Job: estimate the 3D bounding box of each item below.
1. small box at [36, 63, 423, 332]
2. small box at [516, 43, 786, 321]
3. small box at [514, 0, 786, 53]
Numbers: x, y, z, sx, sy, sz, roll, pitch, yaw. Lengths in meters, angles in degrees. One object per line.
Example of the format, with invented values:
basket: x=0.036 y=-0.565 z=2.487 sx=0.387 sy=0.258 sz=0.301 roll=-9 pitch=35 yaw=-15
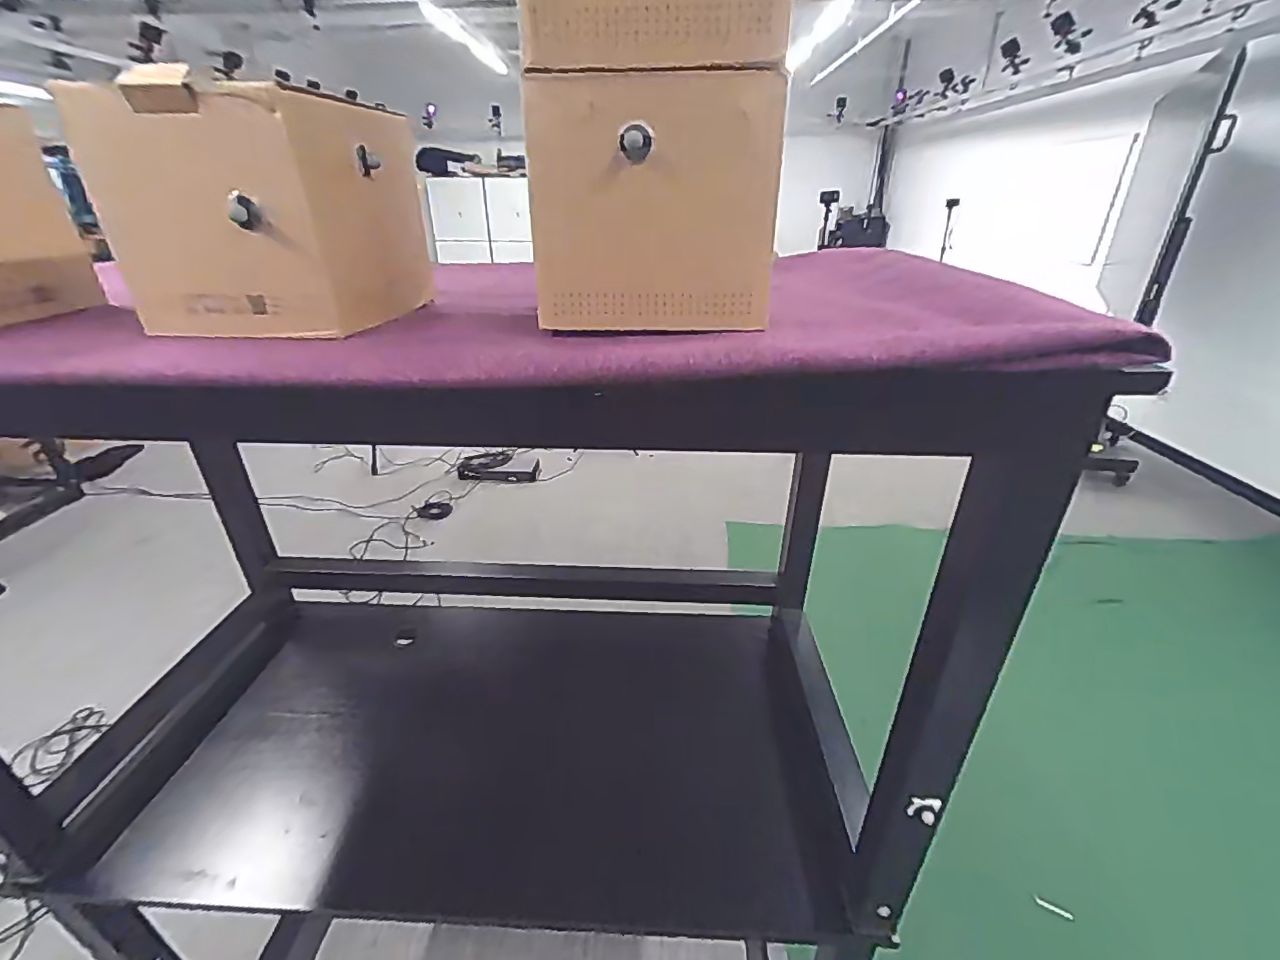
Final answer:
small box: x=-0.301 y=-0.224 z=0.451 sx=0.168 sy=0.176 sz=0.179 roll=3 pitch=27 yaw=4
small box: x=0.011 y=-0.226 z=0.444 sx=0.179 sy=0.176 sz=0.168 roll=1 pitch=25 yaw=2
small box: x=0.008 y=-0.376 z=0.380 sx=0.179 sy=0.176 sz=0.168 roll=1 pitch=25 yaw=3
